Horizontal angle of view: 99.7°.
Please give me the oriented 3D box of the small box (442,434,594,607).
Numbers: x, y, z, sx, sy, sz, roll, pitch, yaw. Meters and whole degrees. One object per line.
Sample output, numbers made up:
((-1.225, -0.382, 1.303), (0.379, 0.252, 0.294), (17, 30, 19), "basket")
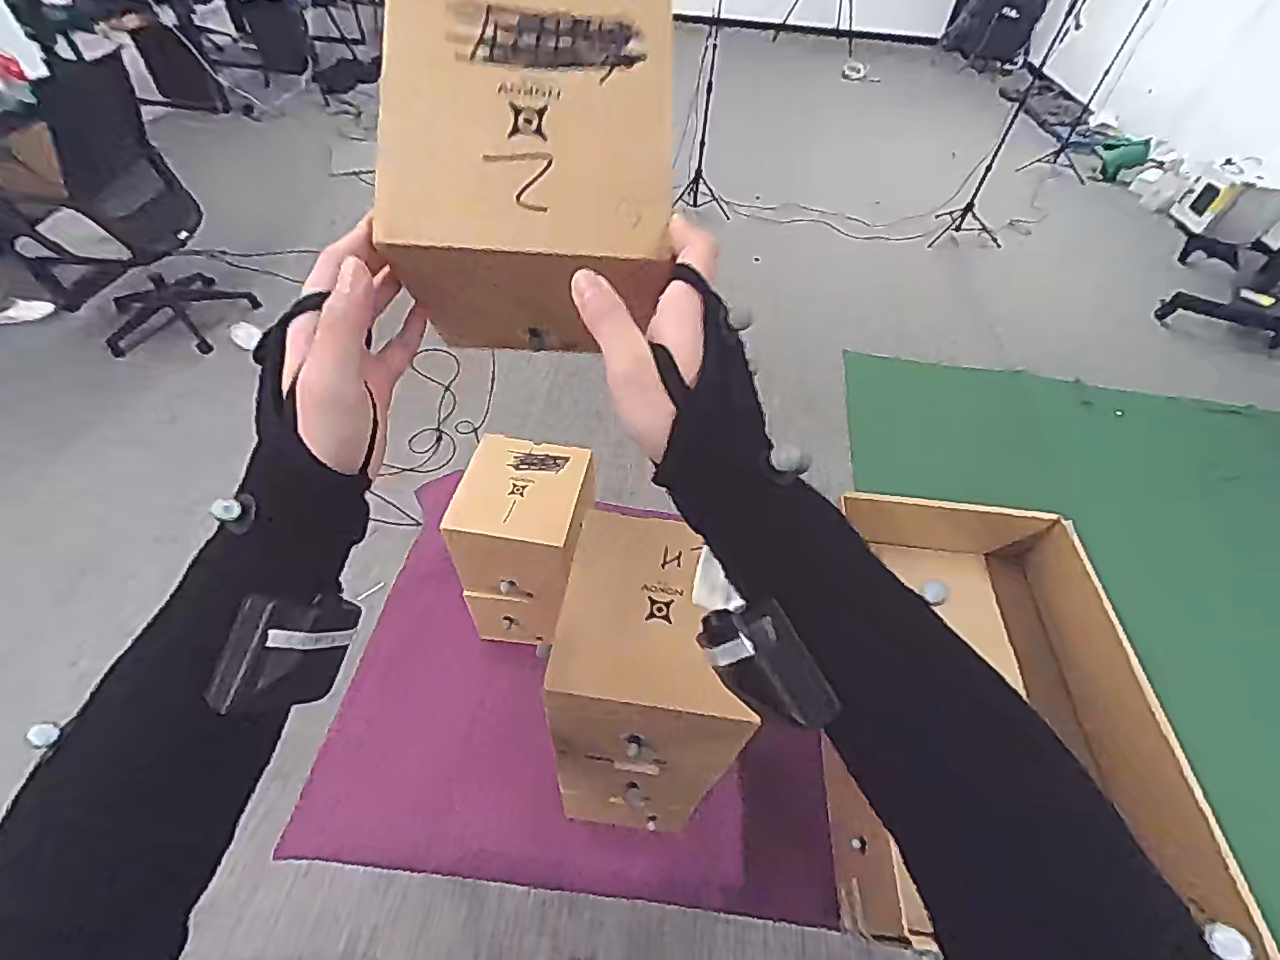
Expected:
((-0.167, 0.061, 0.799), (0.168, 0.176, 0.179), (9, 50, 4), "small box")

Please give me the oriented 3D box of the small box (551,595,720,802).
((-0.002, 0.262, 0.639), (0.168, 0.176, 0.179), (8, 49, 1), "small box")

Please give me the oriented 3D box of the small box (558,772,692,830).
((-0.012, 0.372, 0.760), (0.168, 0.176, 0.179), (8, 48, 2), "small box")

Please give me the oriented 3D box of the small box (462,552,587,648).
((-0.183, 0.169, 0.923), (0.168, 0.176, 0.179), (6, 49, 1), "small box")
